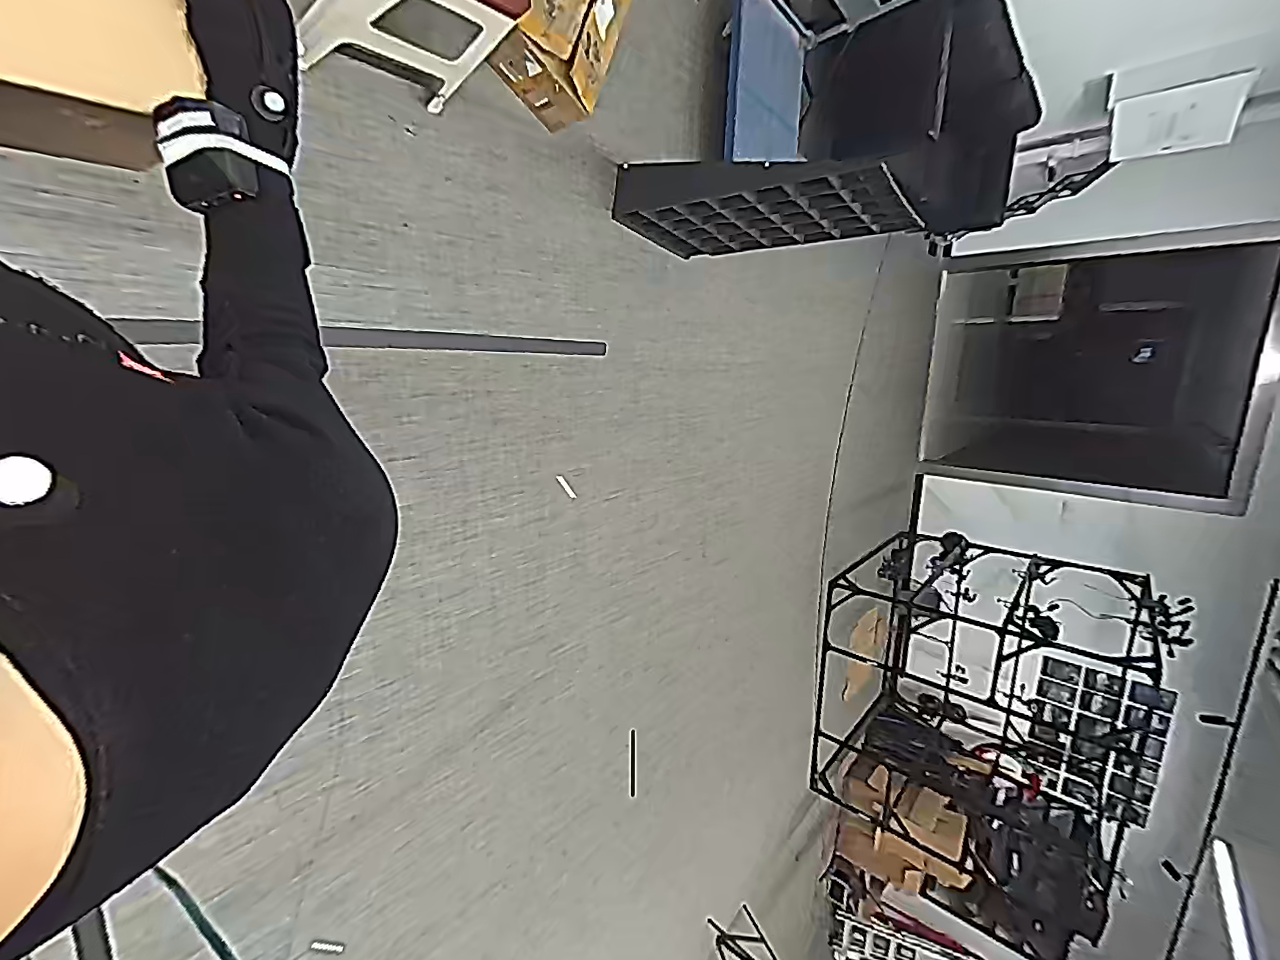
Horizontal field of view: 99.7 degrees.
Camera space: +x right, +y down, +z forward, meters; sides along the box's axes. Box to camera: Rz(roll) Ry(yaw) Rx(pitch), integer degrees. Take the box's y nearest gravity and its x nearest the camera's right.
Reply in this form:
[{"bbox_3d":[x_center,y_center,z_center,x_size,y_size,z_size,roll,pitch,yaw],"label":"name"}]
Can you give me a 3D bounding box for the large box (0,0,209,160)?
[{"bbox_3d":[-0.574,-0.425,0.327,0.408,0.320,0.320,-16,117,-47],"label":"large box"}]
